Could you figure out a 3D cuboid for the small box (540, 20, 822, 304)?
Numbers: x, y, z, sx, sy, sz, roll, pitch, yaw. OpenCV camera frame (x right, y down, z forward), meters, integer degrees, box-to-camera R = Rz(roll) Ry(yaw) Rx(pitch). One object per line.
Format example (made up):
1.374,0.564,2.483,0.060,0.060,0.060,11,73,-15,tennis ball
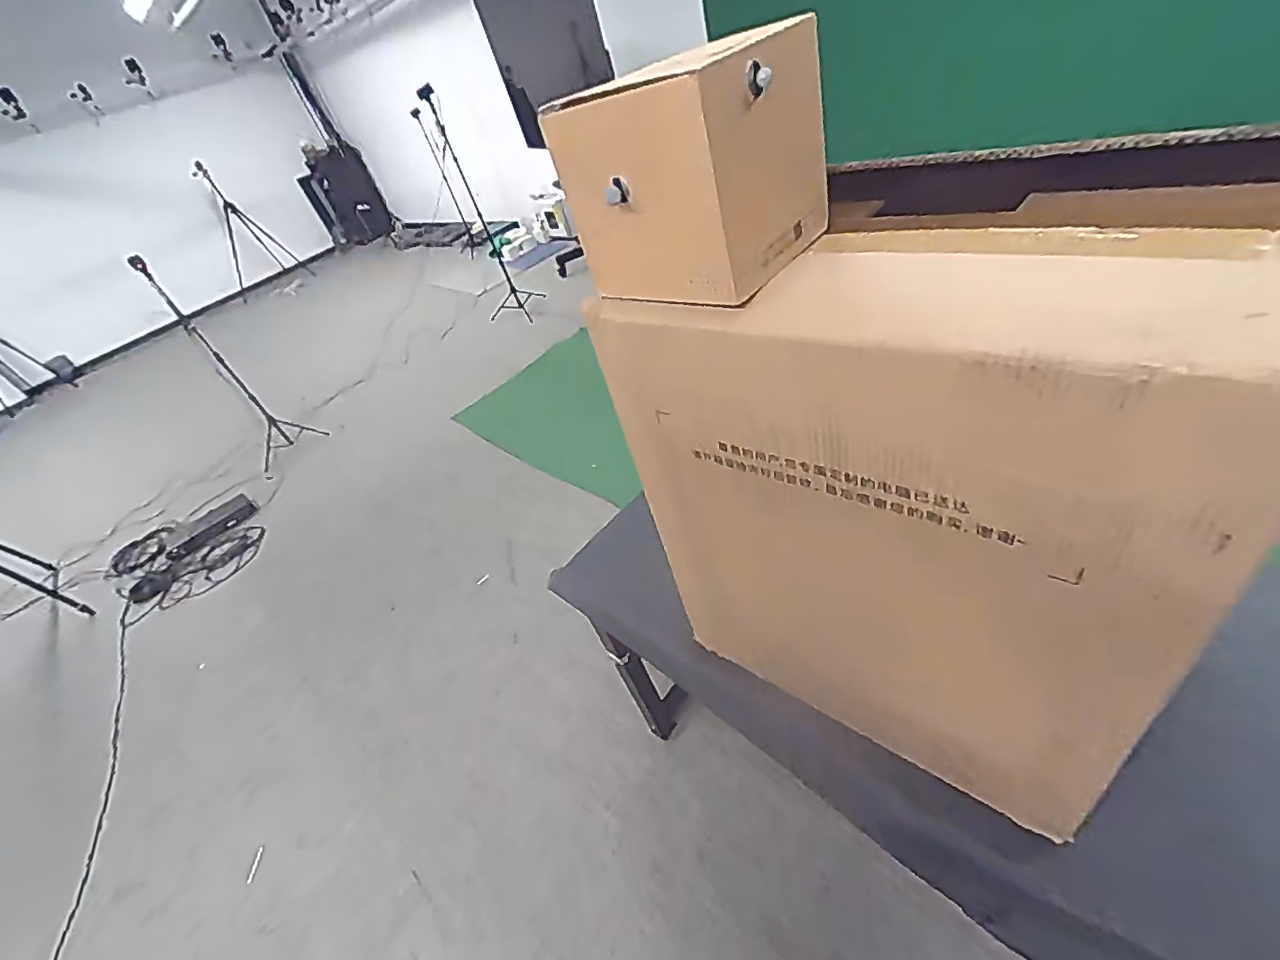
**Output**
0.047,-0.277,0.500,0.179,0.176,0.168,18,54,41,small box
